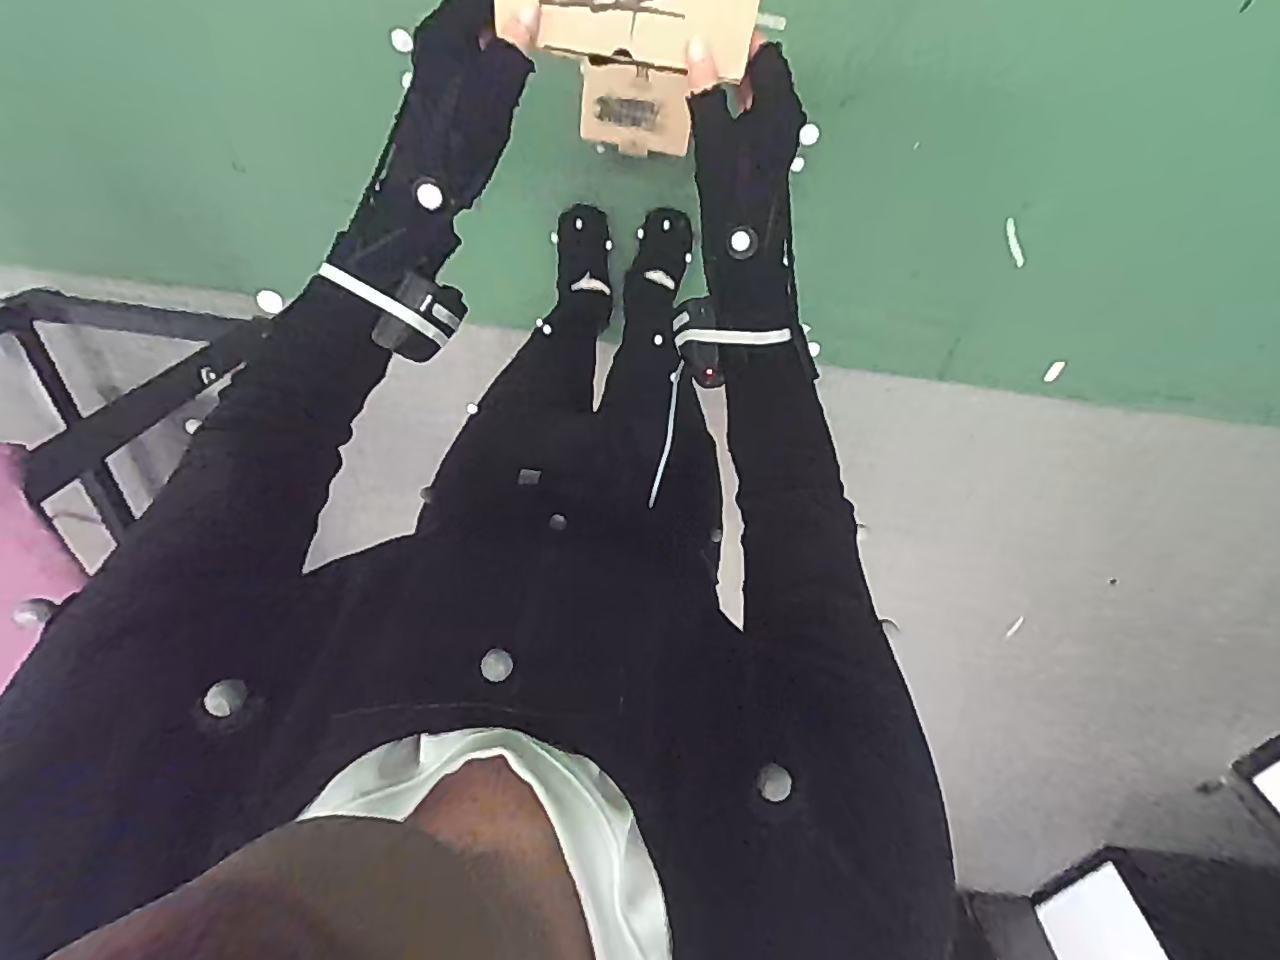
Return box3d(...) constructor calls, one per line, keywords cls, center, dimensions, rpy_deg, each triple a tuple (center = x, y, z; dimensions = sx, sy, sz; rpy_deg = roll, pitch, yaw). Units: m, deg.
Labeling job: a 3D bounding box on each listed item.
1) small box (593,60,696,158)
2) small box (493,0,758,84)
box3d(cls="small box", center=(0.010, -0.710, 0.990), dimensions=(0.168, 0.176, 0.179), rpy_deg=(8, 126, -3))
box3d(cls="small box", center=(0.000, -0.391, 0.355), dimensions=(0.168, 0.176, 0.179), rpy_deg=(6, 132, -6))
